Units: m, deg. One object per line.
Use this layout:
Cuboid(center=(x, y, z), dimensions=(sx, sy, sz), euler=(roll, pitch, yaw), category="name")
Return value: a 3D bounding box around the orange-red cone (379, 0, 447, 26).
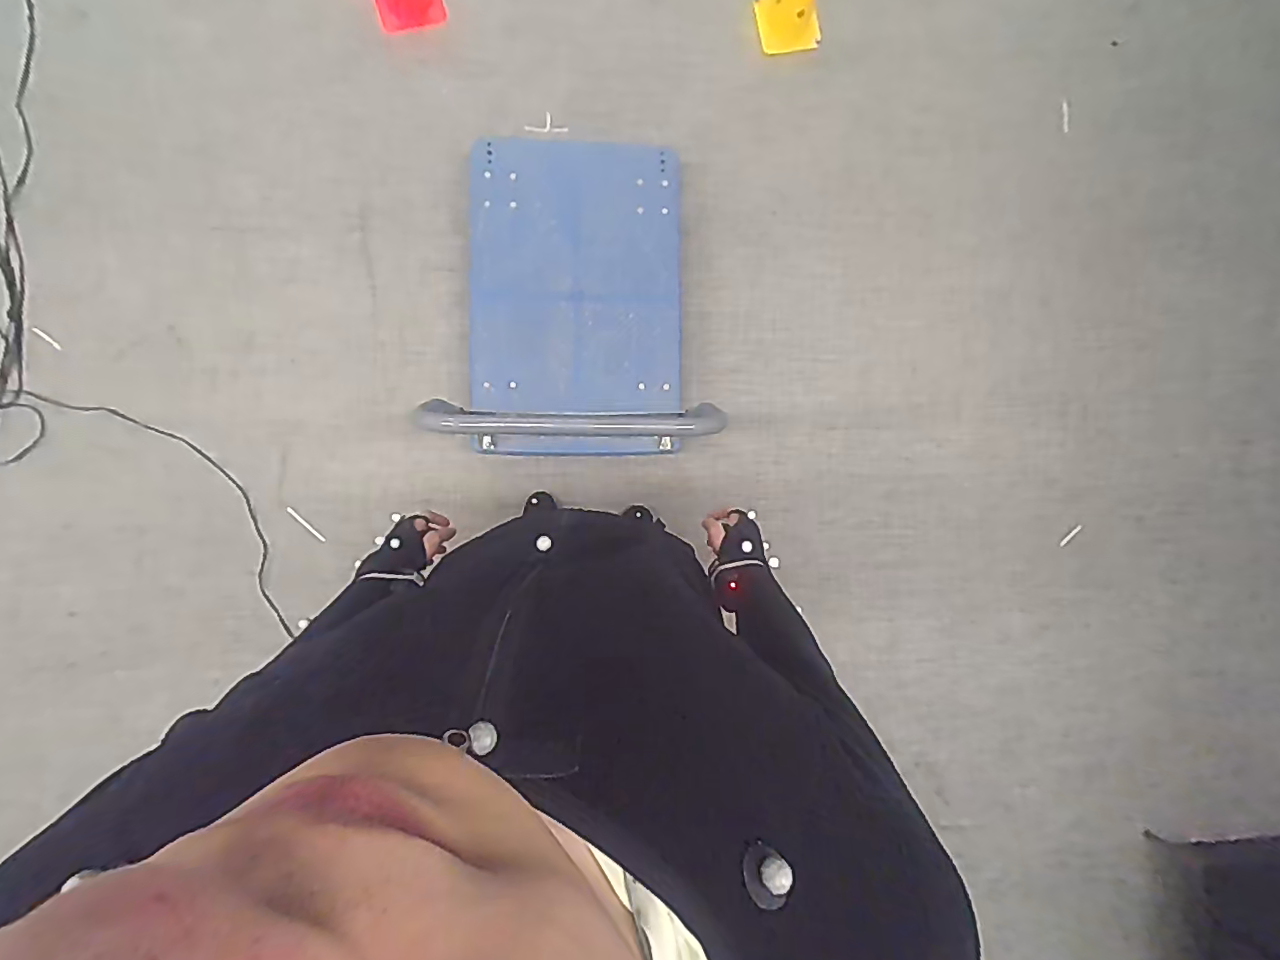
Cuboid(center=(-0.685, -1.485, 1.465), dimensions=(0.199, 0.360, 0.198), euler=(-15, 89, -4), category="orange-red cone")
